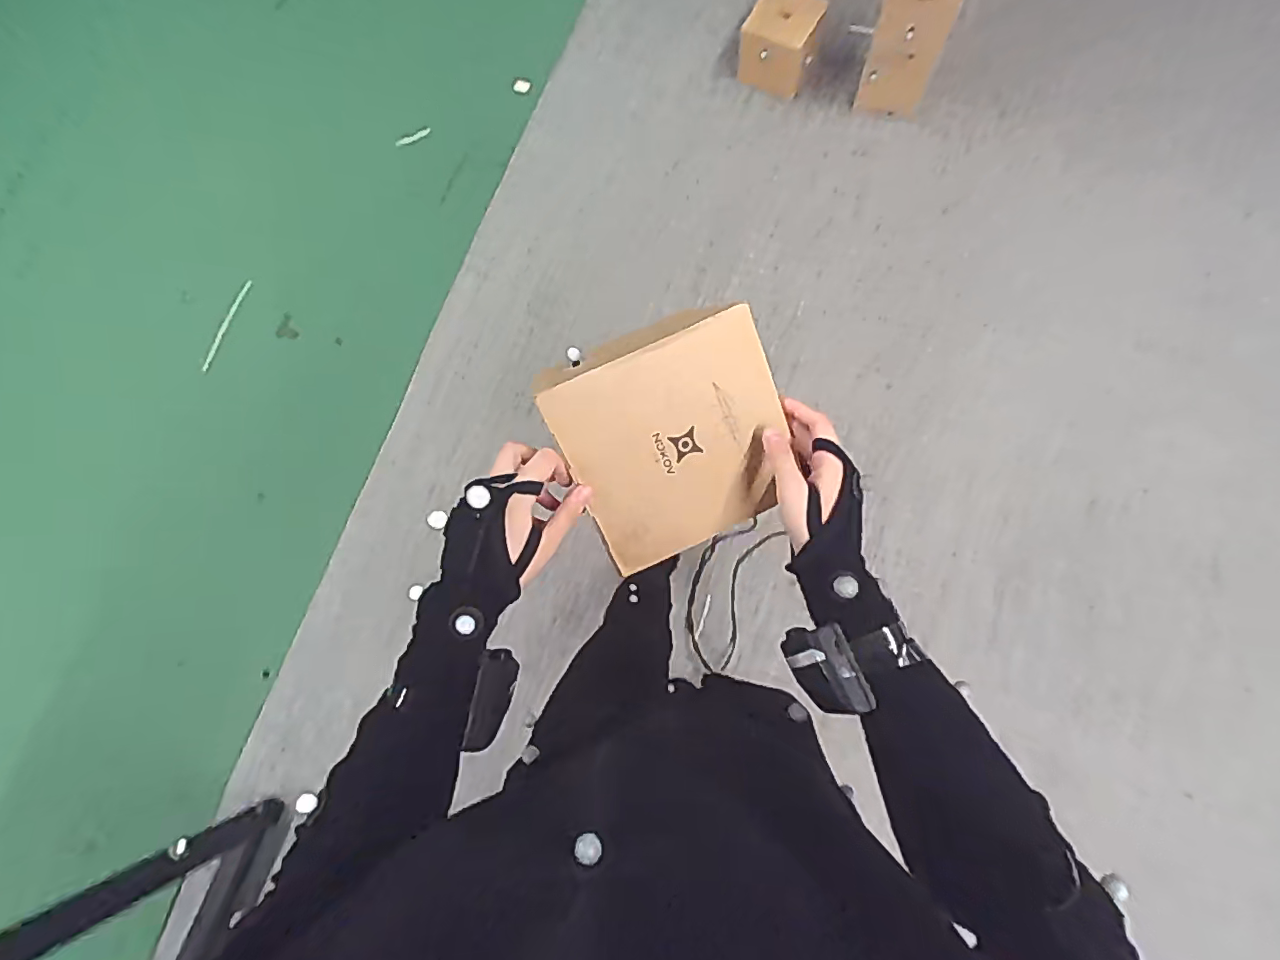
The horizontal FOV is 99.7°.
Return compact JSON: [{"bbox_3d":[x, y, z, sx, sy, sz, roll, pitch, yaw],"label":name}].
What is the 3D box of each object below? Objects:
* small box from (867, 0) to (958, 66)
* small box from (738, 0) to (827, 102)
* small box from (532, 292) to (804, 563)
[{"bbox_3d":[0.659,-1.136,1.284,0.168,0.176,0.179,17,82,10],"label":"small box"},{"bbox_3d":[0.388,-1.202,1.502,0.179,0.176,0.168,31,85,13],"label":"small box"},{"bbox_3d":[0.015,-0.055,0.493,0.179,0.176,0.168,-24,108,-4],"label":"small box"}]
